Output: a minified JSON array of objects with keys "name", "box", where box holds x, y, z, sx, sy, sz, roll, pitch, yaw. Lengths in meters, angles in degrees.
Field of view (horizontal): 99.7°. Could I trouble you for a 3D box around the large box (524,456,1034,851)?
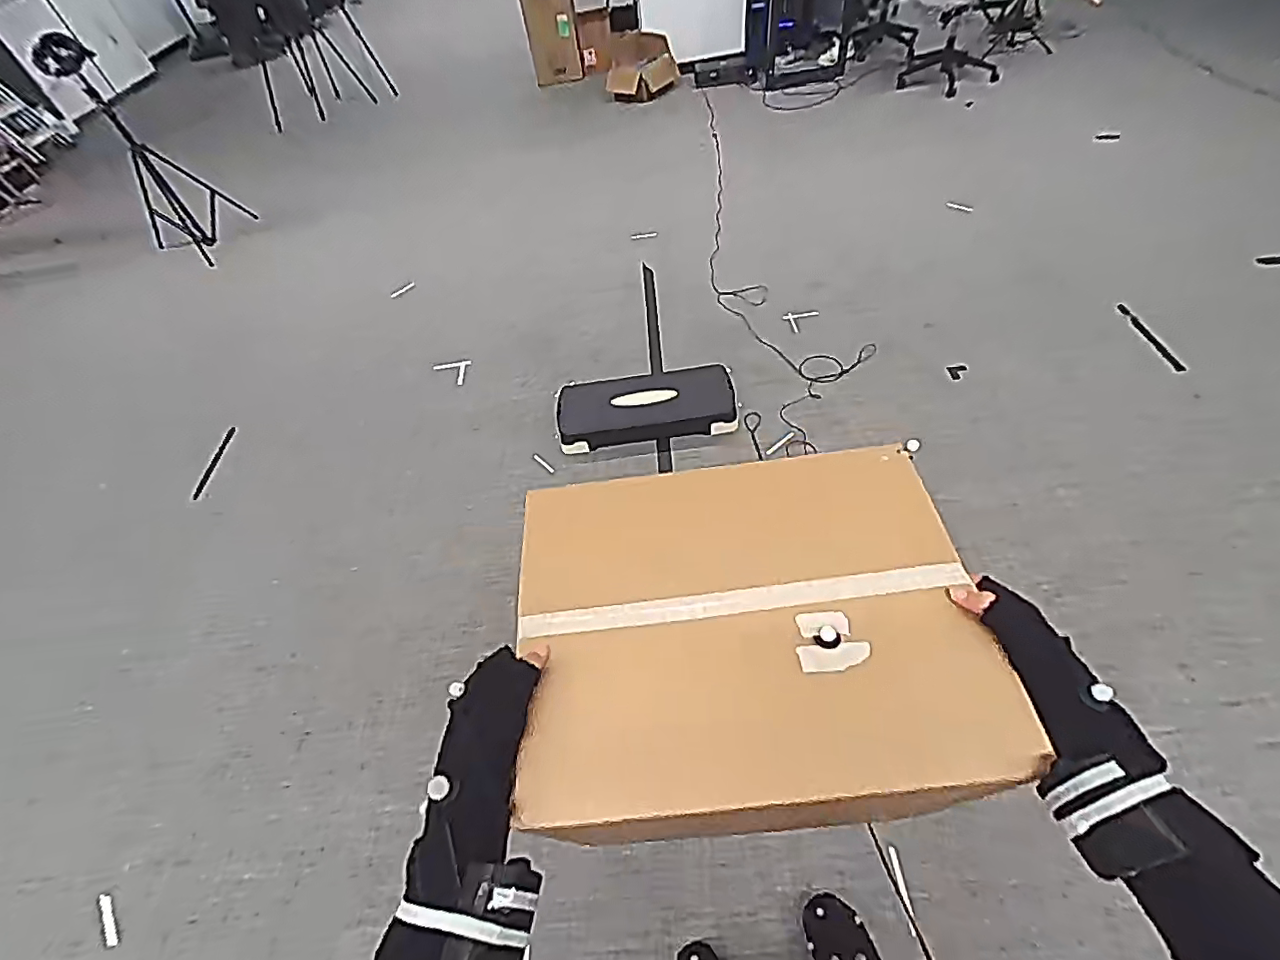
[{"name":"large box","box":[0.106,0.209,0.620,0.408,0.320,0.320,-7,53,2]}]
